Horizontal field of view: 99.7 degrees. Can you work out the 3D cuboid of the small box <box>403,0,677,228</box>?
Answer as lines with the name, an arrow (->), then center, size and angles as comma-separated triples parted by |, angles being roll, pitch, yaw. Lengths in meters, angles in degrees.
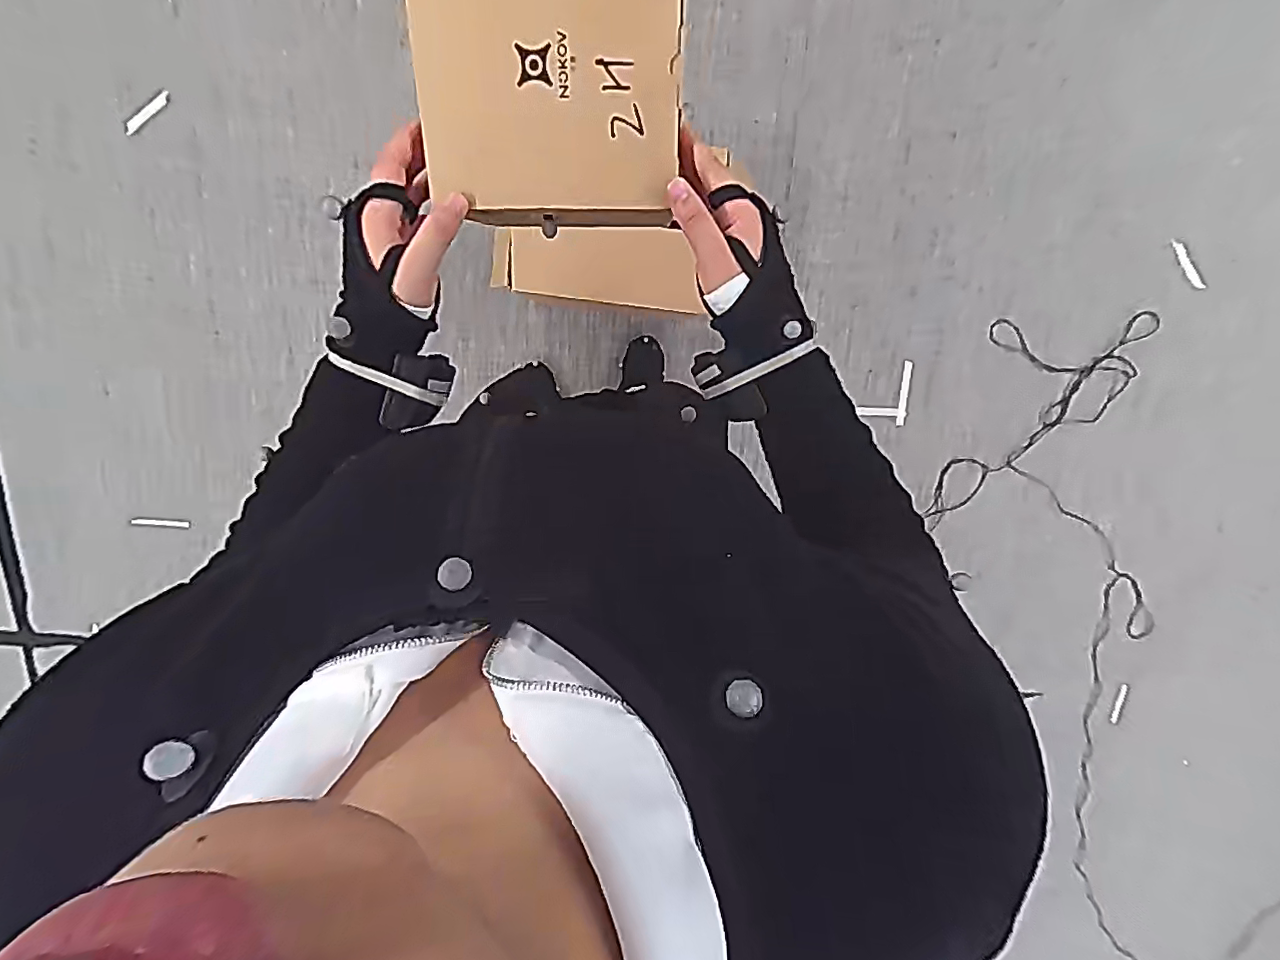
small box -> -0.062, -0.295, 0.428 | 0.179, 0.176, 0.168 | 0, 112, 0
